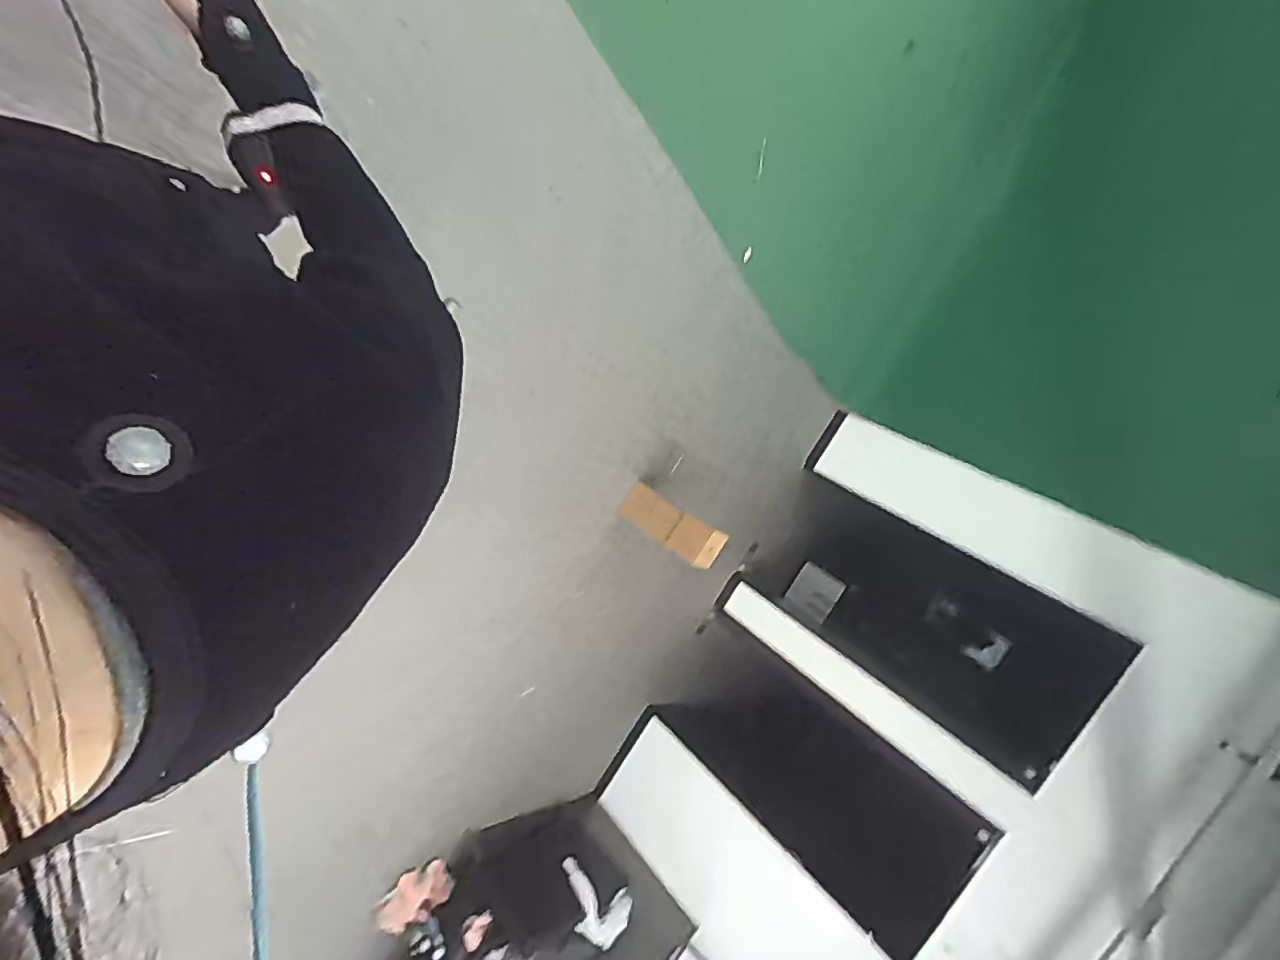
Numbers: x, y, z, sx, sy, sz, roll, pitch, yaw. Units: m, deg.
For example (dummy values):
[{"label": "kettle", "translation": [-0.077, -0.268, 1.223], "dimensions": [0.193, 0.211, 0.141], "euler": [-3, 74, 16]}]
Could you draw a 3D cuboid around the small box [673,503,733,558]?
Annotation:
[{"label": "small box", "translation": [0.278, 0.223, 2.411], "dimensions": [0.168, 0.176, 0.179], "euler": [24, 99, -54]}]

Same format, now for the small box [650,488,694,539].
[{"label": "small box", "translation": [0.169, 0.161, 2.516], "dimensions": [0.168, 0.176, 0.179], "euler": [21, 100, -54]}]
